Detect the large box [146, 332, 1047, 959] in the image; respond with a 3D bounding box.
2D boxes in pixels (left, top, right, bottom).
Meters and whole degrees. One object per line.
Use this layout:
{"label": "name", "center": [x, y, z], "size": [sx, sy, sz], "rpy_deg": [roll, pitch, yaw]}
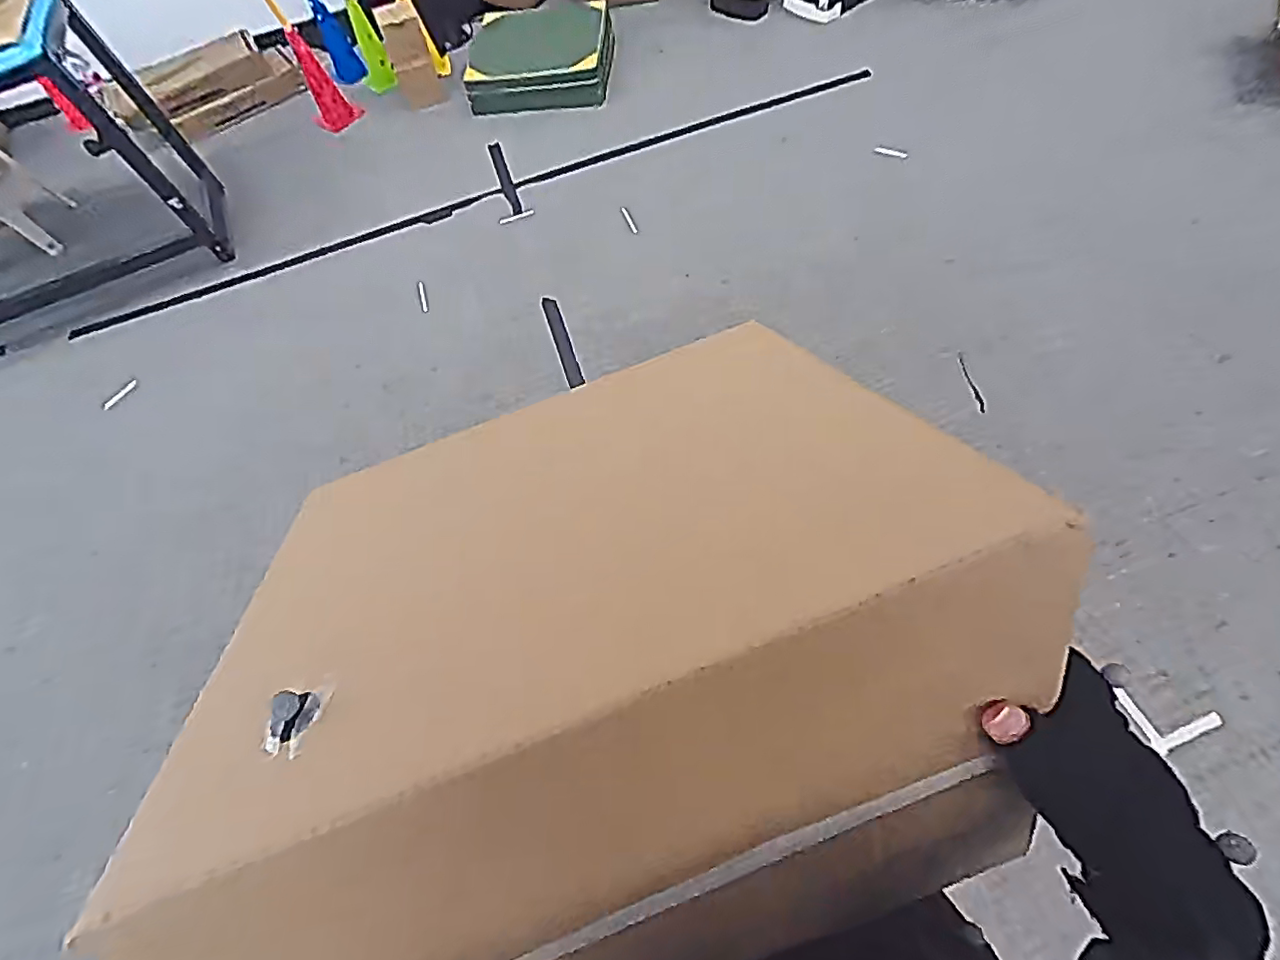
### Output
{"label": "large box", "center": [-0.004, 0.130, 0.421], "size": [0.408, 0.320, 0.320], "rpy_deg": [-22, 33, -2]}
